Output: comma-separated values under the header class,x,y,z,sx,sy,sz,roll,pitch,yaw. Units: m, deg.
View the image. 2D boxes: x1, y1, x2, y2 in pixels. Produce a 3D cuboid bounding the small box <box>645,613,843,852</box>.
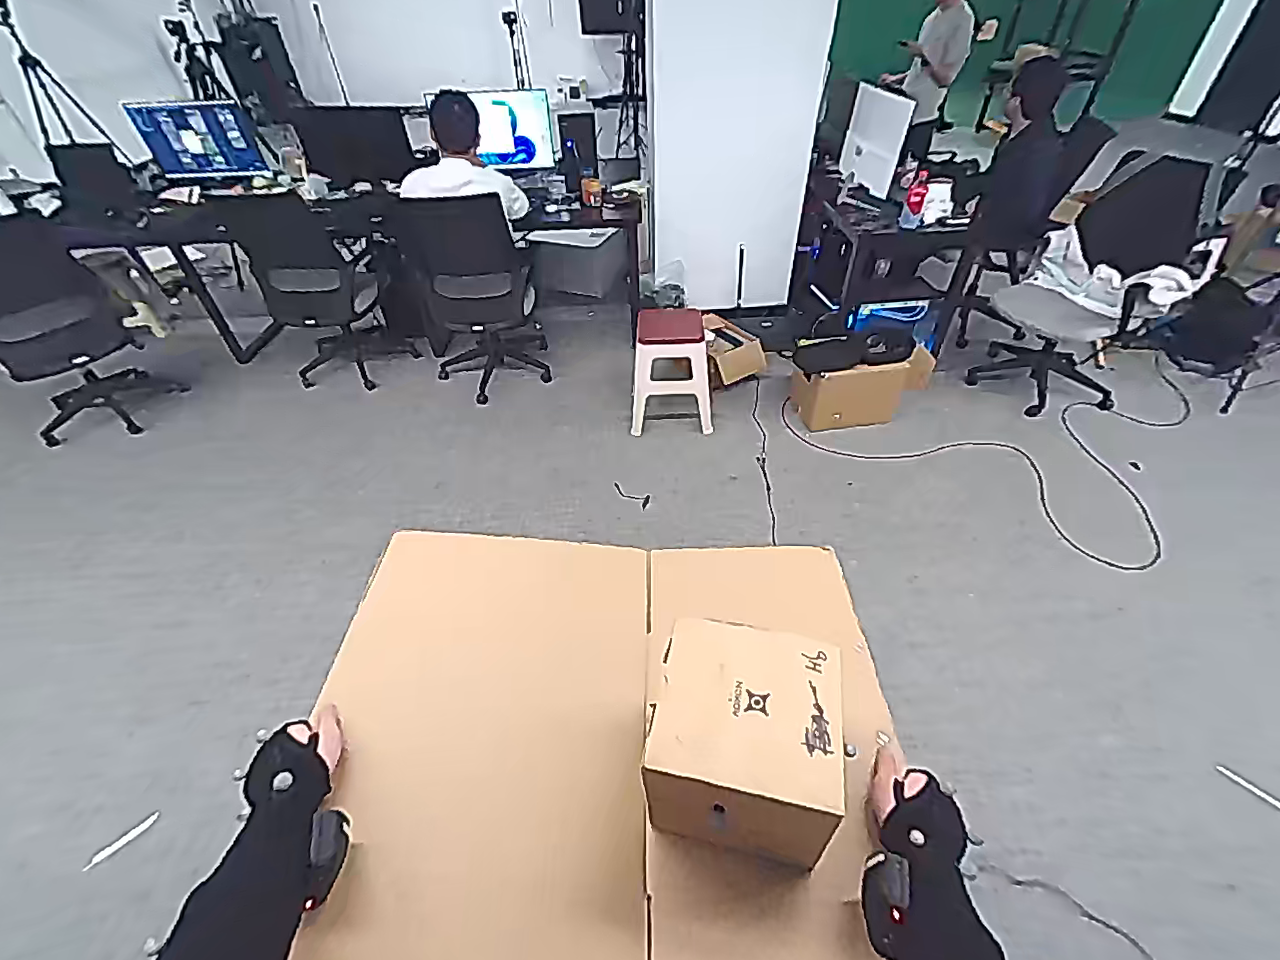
class,x,y,z,sx,sy,sz,roll,pitch,yaw
small box,0.114,0.270,0.582,0.179,0.176,0.168,6,43,13
